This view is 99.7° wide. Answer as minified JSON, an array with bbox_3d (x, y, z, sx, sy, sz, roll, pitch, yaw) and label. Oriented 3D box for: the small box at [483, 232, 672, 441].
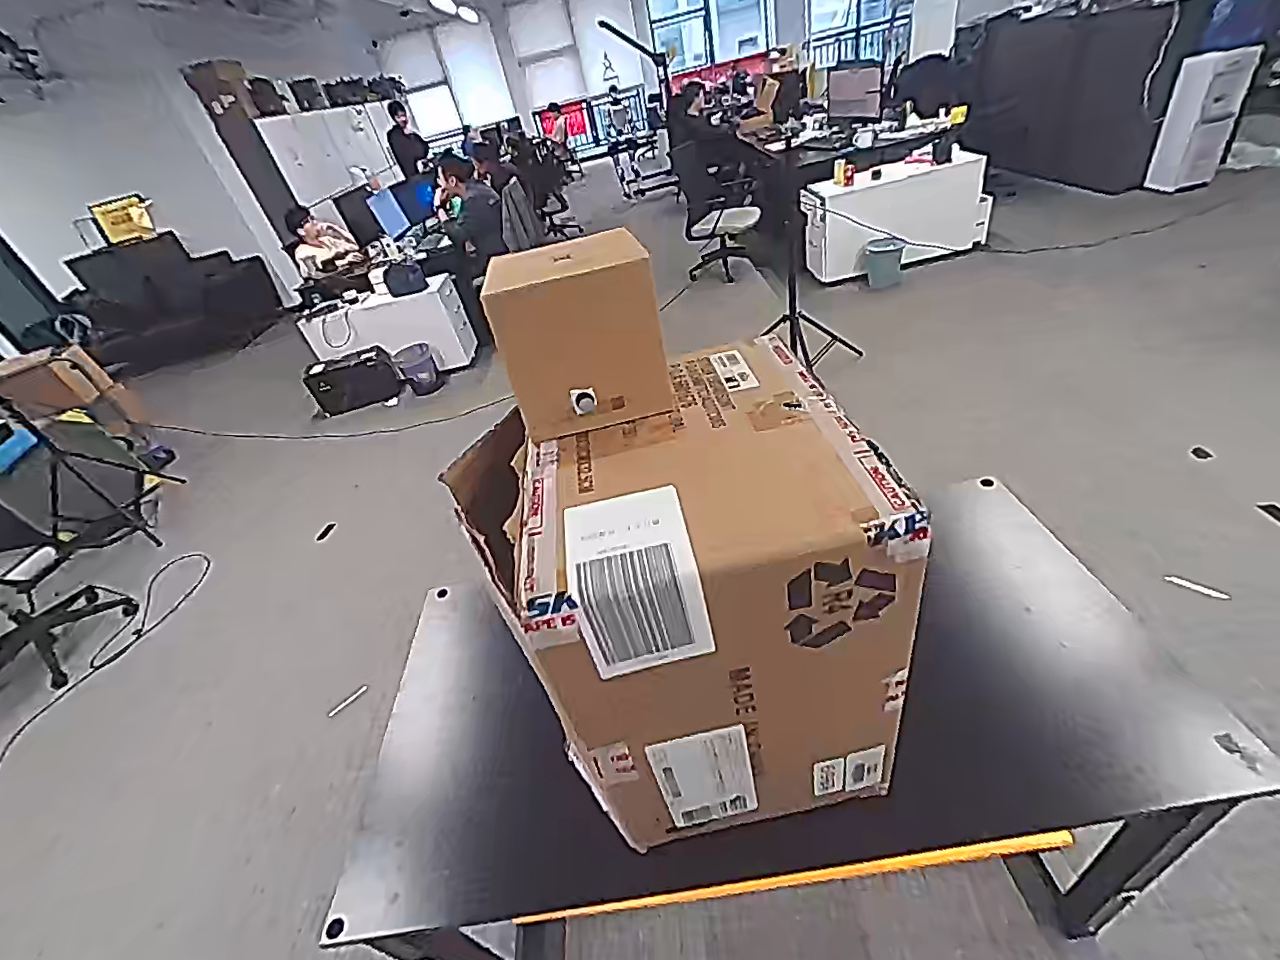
[{"bbox_3d":[-0.068,-0.169,0.626,0.168,0.176,0.179,-15,35,-2],"label":"small box"}]
